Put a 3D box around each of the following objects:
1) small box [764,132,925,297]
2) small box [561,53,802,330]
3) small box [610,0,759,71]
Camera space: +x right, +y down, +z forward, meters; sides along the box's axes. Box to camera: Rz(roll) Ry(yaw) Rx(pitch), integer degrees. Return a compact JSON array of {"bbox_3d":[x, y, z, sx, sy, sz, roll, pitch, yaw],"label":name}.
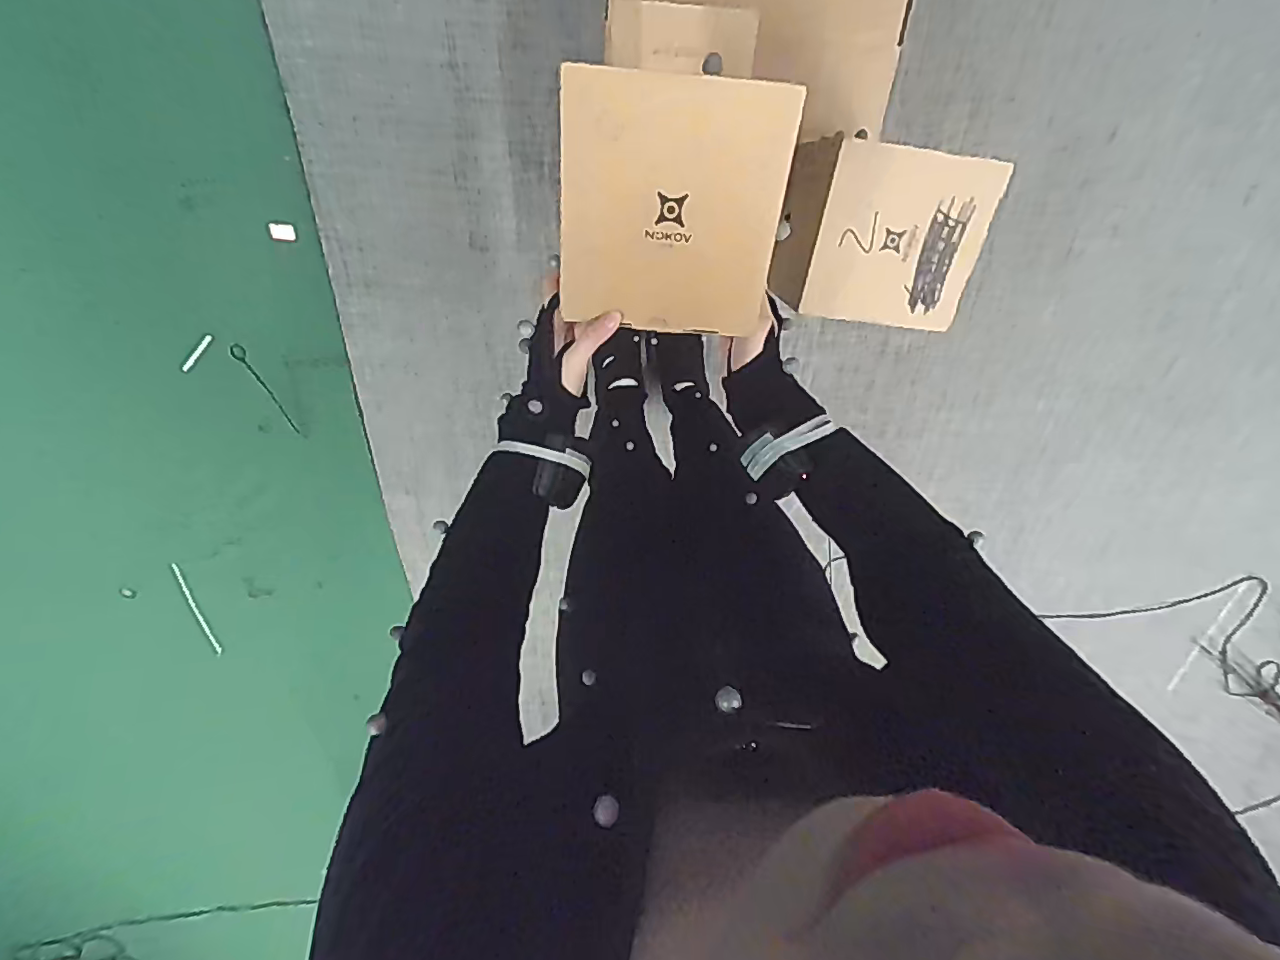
[{"bbox_3d":[0.256,-0.368,0.759,0.168,0.176,0.179,5,117,-4],"label":"small box"},{"bbox_3d":[0.025,-0.250,0.473,0.168,0.176,0.179,5,125,0],"label":"small box"},{"bbox_3d":[0.045,-0.477,0.701,0.168,0.176,0.179,3,117,-2],"label":"small box"}]
